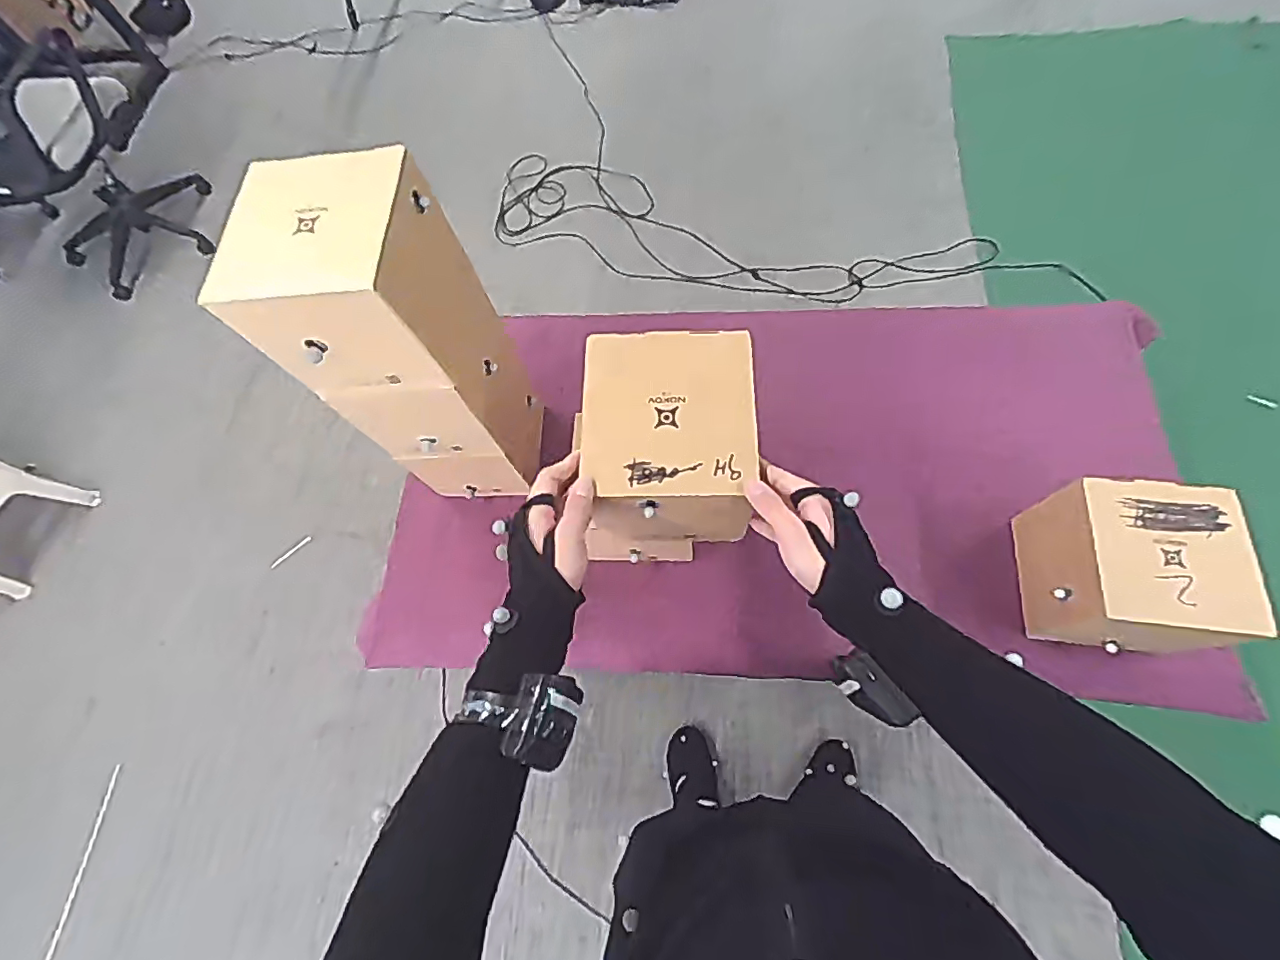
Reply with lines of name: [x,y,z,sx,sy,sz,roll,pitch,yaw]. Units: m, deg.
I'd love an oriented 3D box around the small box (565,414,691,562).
small box: [-0.006,0.014,0.803,0.168,0.176,0.179,0,68,7]

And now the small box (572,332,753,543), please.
small box: [0.028,-0.038,0.587,0.168,0.176,0.179,0,69,6]

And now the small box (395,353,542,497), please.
small box: [-0.261,-0.083,0.870,0.168,0.176,0.179,-1,69,6]

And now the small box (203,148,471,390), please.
small box: [-0.294,-0.206,0.570,0.168,0.176,0.179,-2,67,6]

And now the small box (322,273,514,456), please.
small box: [-0.276,-0.146,0.720,0.168,0.176,0.179,-2,69,6]
